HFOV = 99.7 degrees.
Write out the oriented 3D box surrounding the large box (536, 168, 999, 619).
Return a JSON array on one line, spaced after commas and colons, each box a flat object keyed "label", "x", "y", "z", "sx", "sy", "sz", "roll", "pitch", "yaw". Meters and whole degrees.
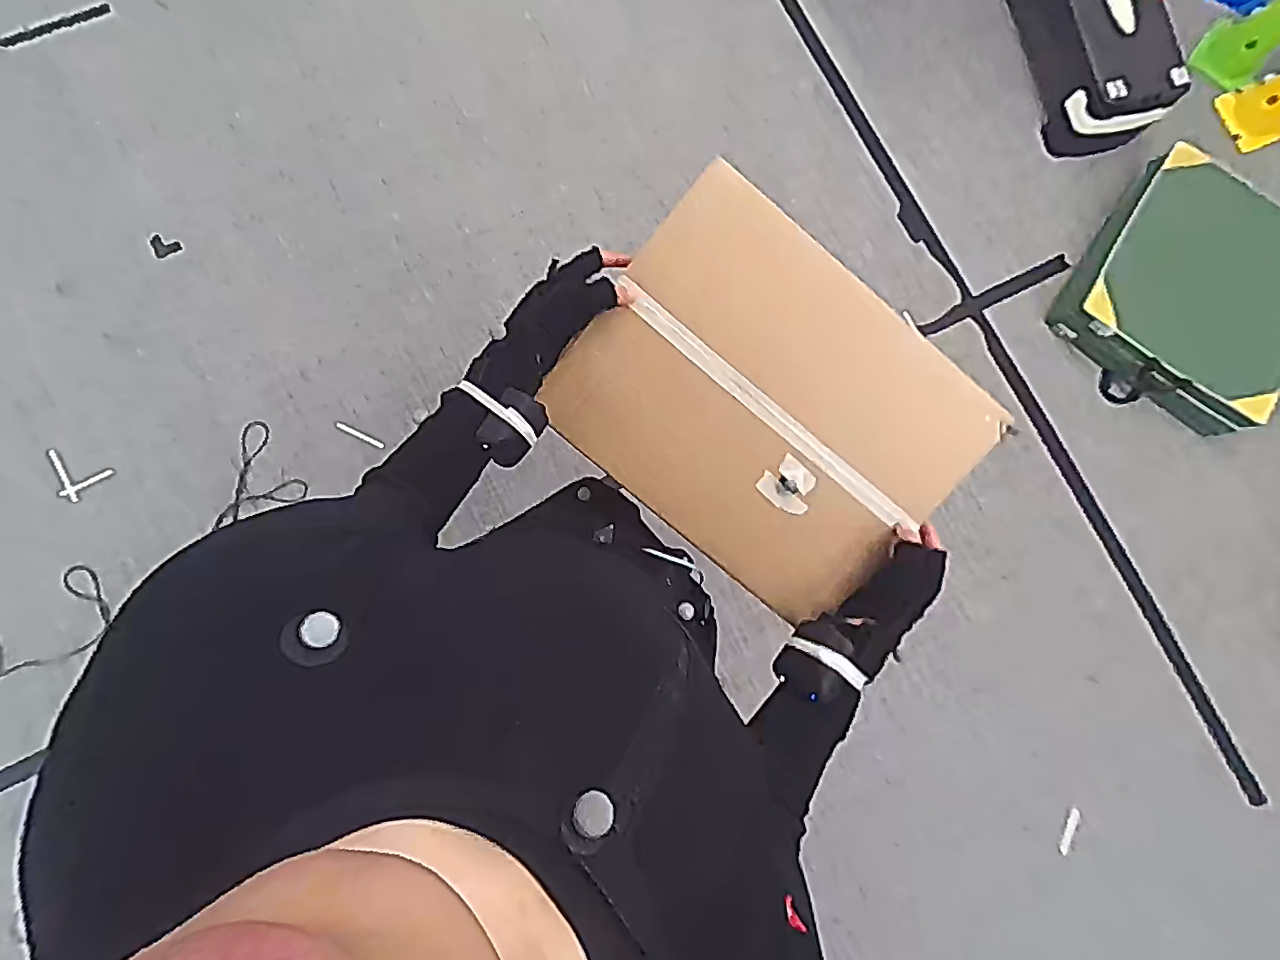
[{"label": "large box", "x": 0.133, "y": -0.099, "z": 0.721, "sx": 0.408, "sy": 0.320, "sz": 0.320, "roll": 39, "pitch": 97, "yaw": -4}]
